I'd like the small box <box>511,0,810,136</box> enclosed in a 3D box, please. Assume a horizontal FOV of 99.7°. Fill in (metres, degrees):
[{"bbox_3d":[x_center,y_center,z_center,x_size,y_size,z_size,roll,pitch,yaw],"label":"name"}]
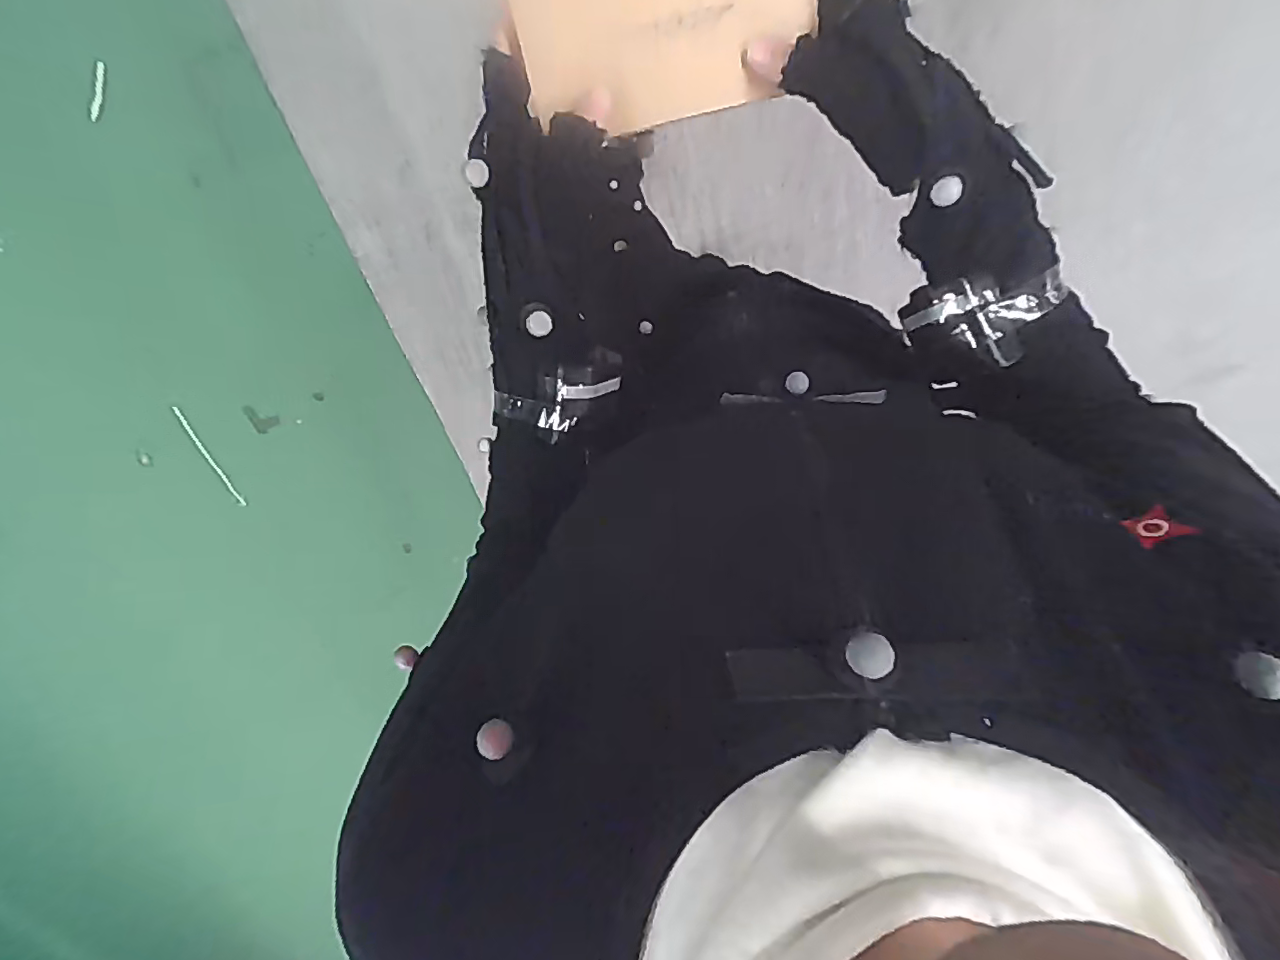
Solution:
[{"bbox_3d":[-0.003,-0.339,0.345,0.168,0.176,0.179,-13,123,3],"label":"small box"}]
